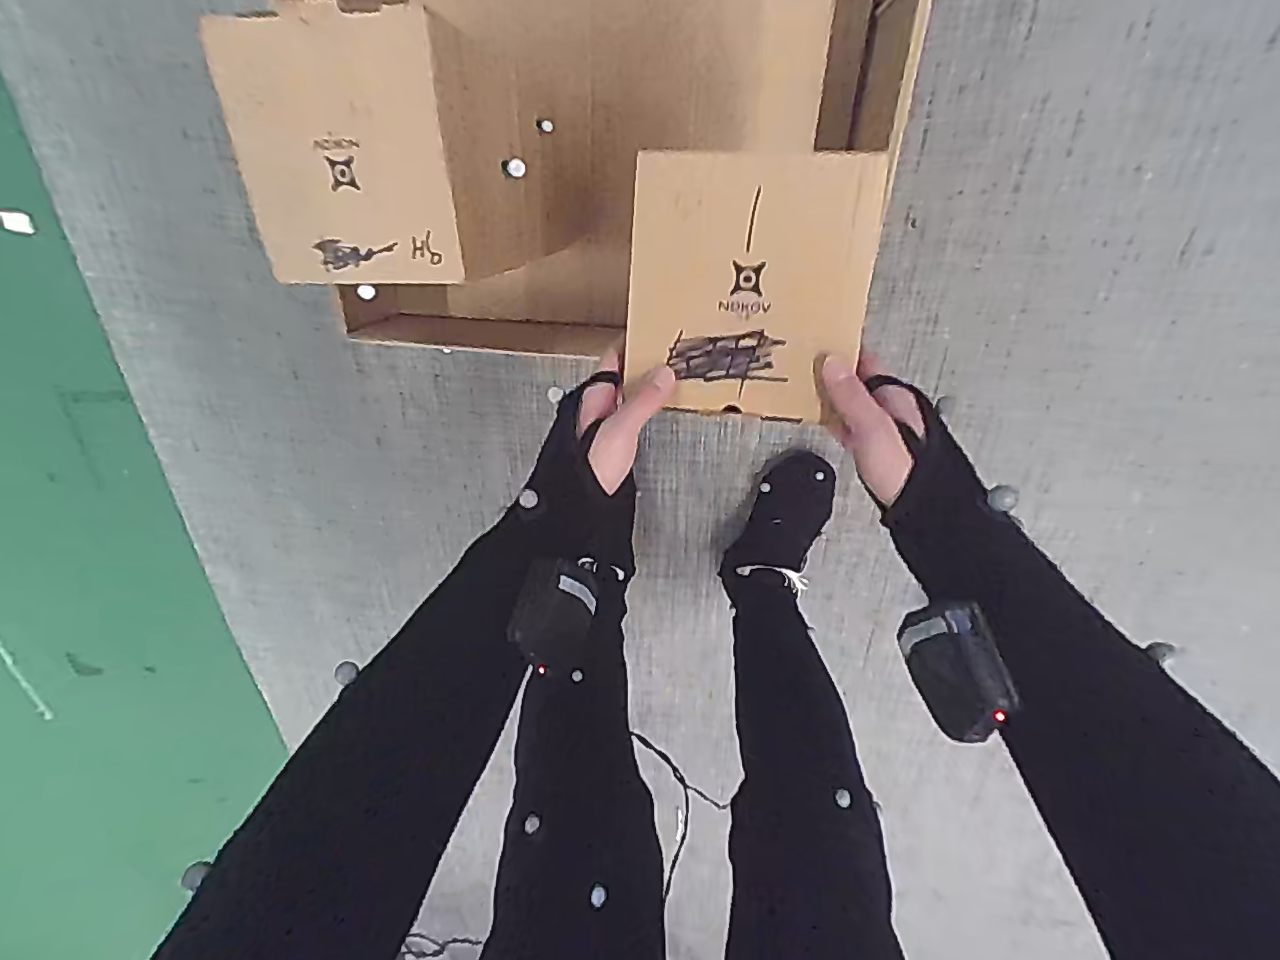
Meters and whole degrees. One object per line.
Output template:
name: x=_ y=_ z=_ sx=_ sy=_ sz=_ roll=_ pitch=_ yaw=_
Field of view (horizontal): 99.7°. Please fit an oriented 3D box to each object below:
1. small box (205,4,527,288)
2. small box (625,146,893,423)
small box: x=-0.205 y=-0.267 z=0.464 sx=0.168 sy=0.176 sz=0.179 roll=4 pitch=116 yaw=7
small box: x=0.089 y=-0.153 z=0.451 sx=0.168 sy=0.176 sz=0.179 roll=7 pitch=105 yaw=9
